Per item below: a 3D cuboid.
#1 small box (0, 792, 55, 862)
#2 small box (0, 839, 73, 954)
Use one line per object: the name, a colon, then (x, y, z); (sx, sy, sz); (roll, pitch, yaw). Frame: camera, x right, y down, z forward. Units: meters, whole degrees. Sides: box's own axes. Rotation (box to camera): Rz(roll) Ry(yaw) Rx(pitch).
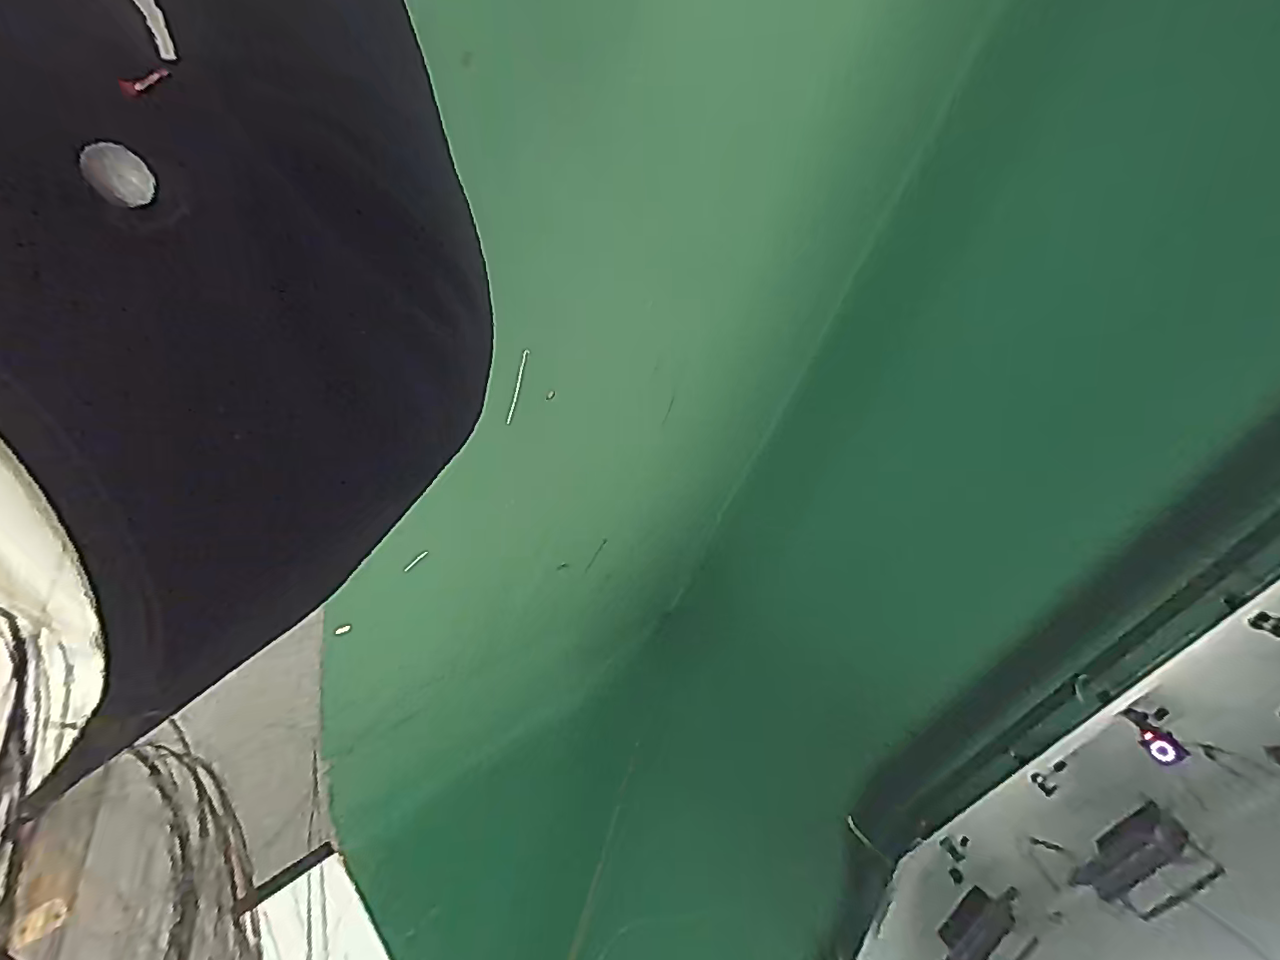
small box: (-1.828, 1.054, 1.556); (0.179, 0.176, 0.168); (-17, 139, -46)
small box: (-1.714, 1.152, 1.491); (0.179, 0.176, 0.168); (-15, 137, -49)
